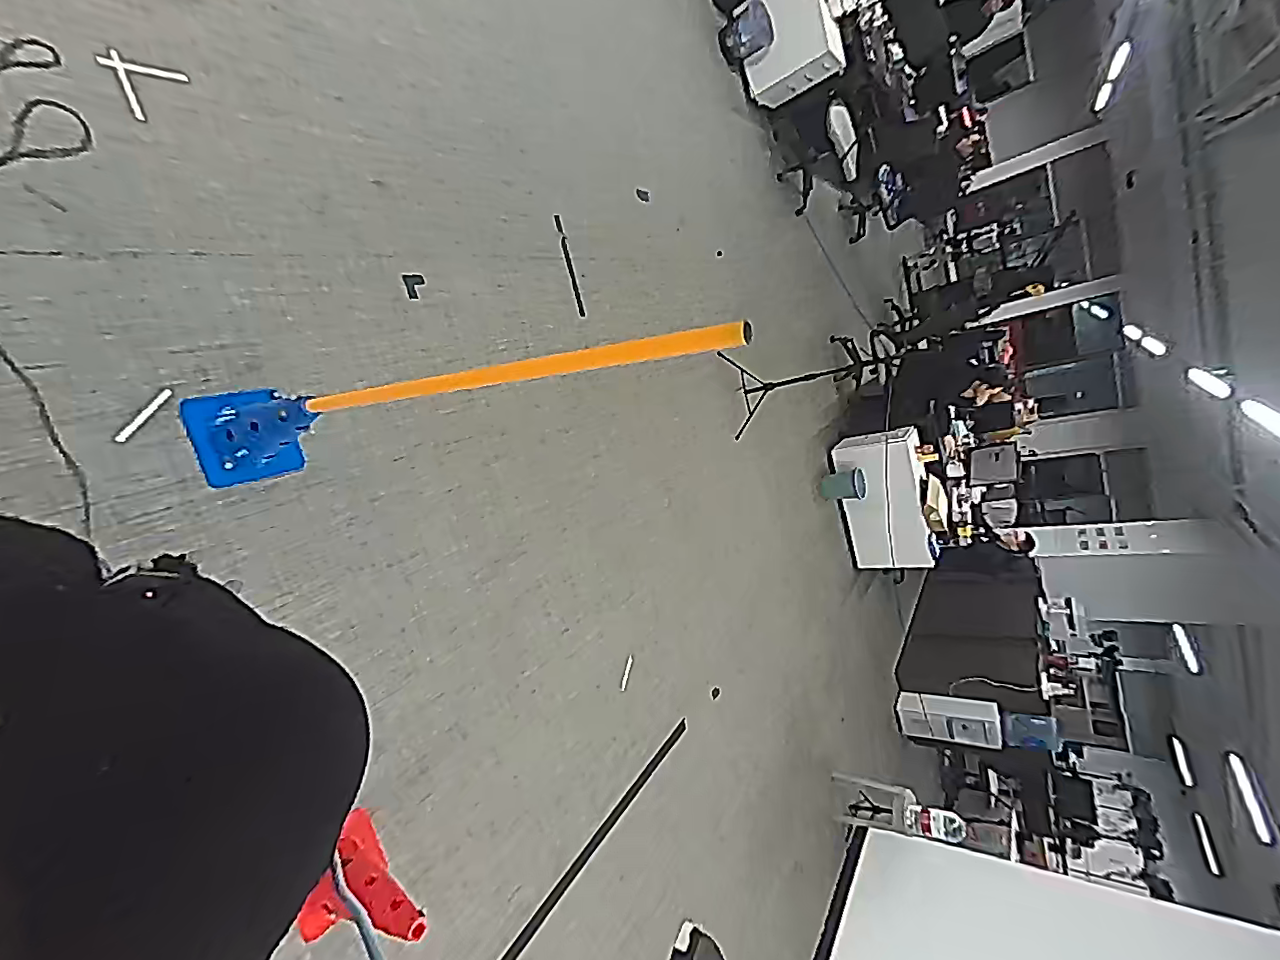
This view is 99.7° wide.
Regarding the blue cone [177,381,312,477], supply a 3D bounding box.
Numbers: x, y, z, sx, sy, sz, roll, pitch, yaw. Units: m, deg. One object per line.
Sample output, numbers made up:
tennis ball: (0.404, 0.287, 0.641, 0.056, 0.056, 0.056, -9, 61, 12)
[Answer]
blue cone: (-0.762, -0.131, 1.105, 0.193, 0.380, 0.192, -24, 101, -52)
